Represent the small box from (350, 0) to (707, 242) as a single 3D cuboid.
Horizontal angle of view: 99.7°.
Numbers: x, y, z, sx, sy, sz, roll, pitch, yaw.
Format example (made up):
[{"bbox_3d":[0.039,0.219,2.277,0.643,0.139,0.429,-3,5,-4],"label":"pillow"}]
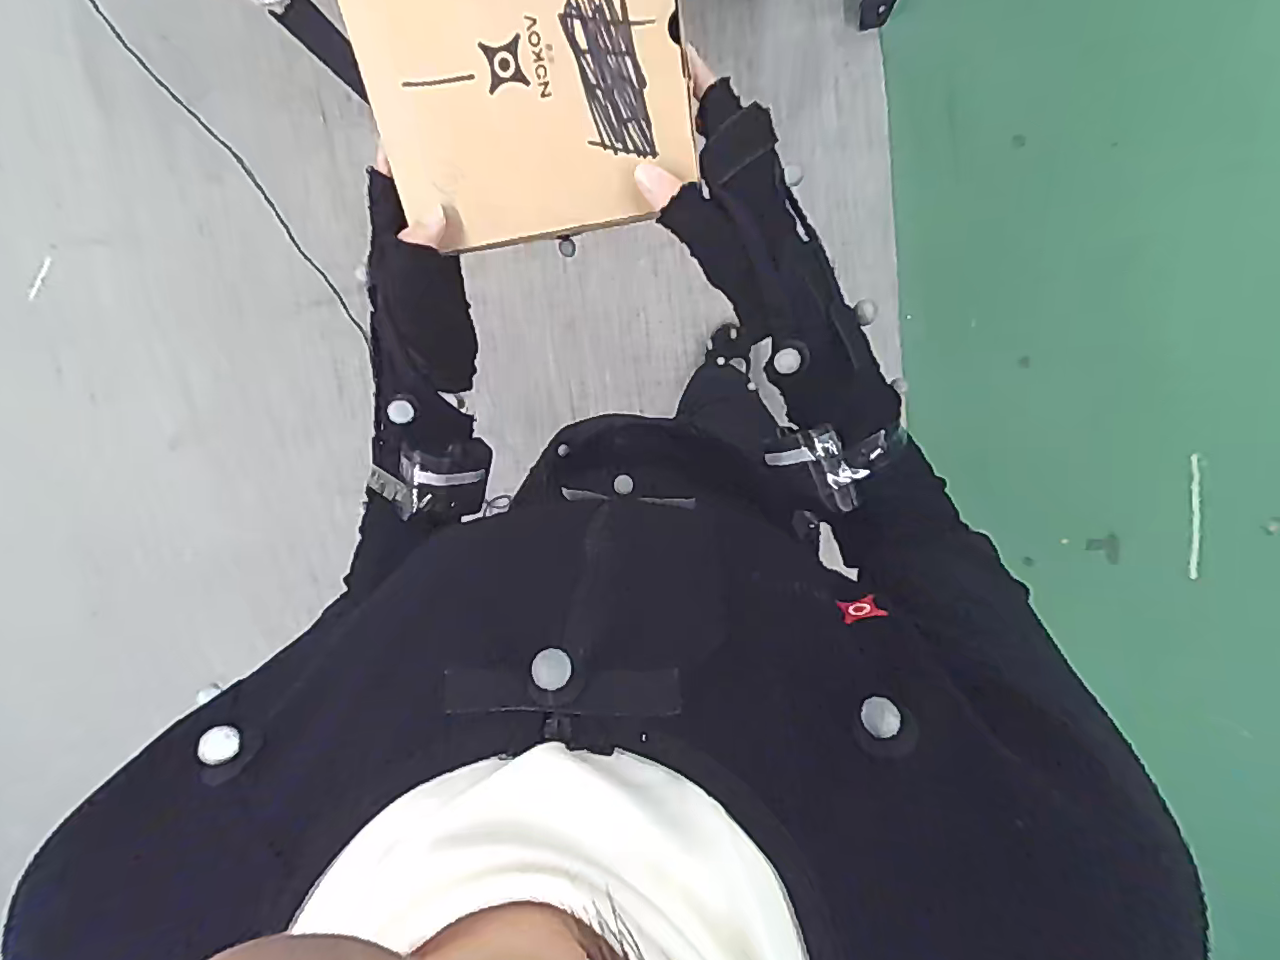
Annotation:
[{"bbox_3d":[-0.055,-0.262,0.357,0.179,0.176,0.168,-7,115,7],"label":"small box"}]
